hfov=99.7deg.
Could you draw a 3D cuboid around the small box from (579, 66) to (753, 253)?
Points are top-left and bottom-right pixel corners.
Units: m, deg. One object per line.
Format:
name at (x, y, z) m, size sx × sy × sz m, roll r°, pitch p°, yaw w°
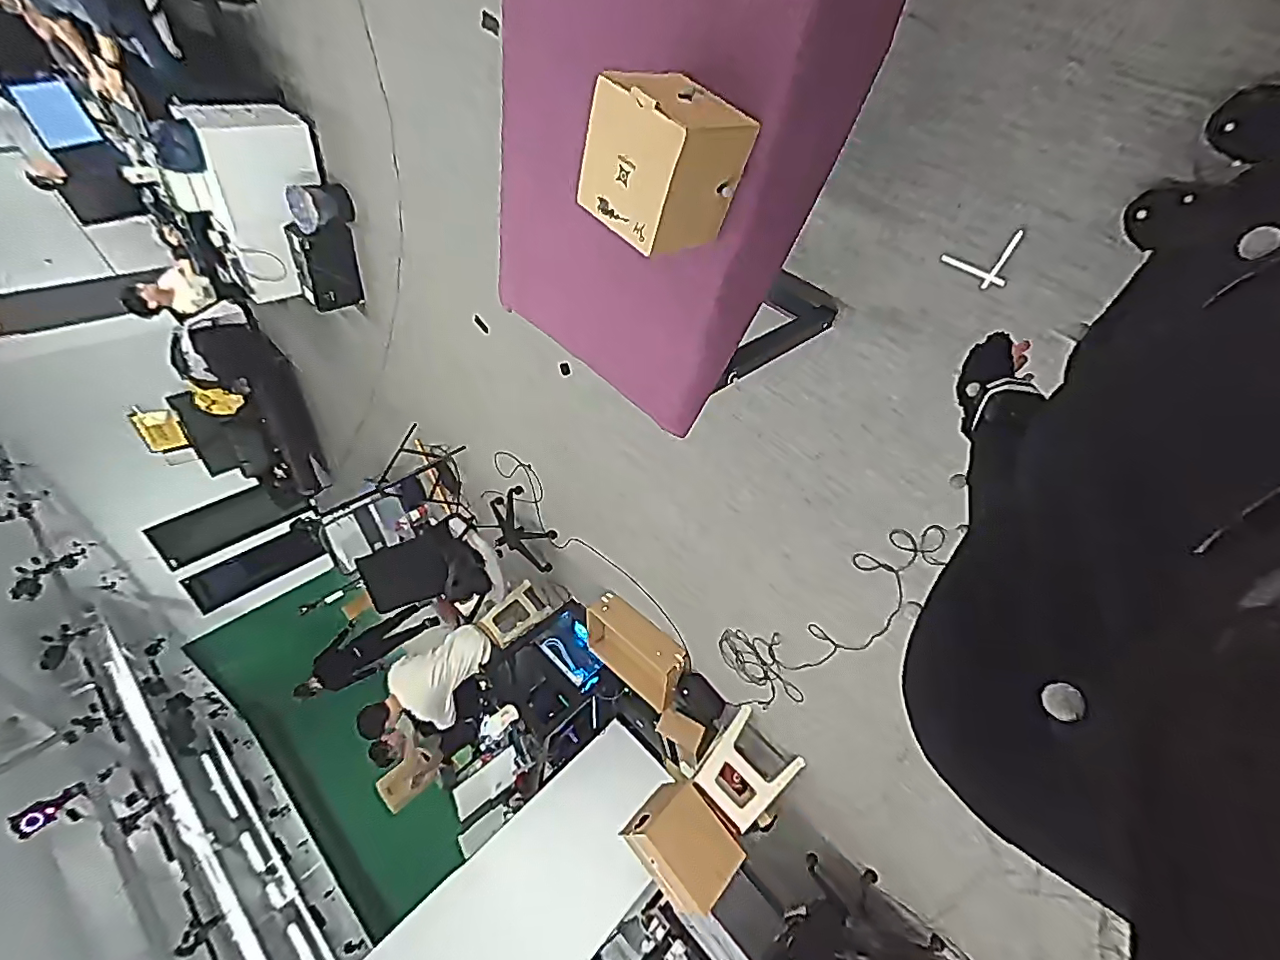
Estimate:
small box at (0.039, -0.469, 0.793) m, size 0.168 × 0.176 × 0.179 m, roll 45°, pitch 141°, yaw 18°
